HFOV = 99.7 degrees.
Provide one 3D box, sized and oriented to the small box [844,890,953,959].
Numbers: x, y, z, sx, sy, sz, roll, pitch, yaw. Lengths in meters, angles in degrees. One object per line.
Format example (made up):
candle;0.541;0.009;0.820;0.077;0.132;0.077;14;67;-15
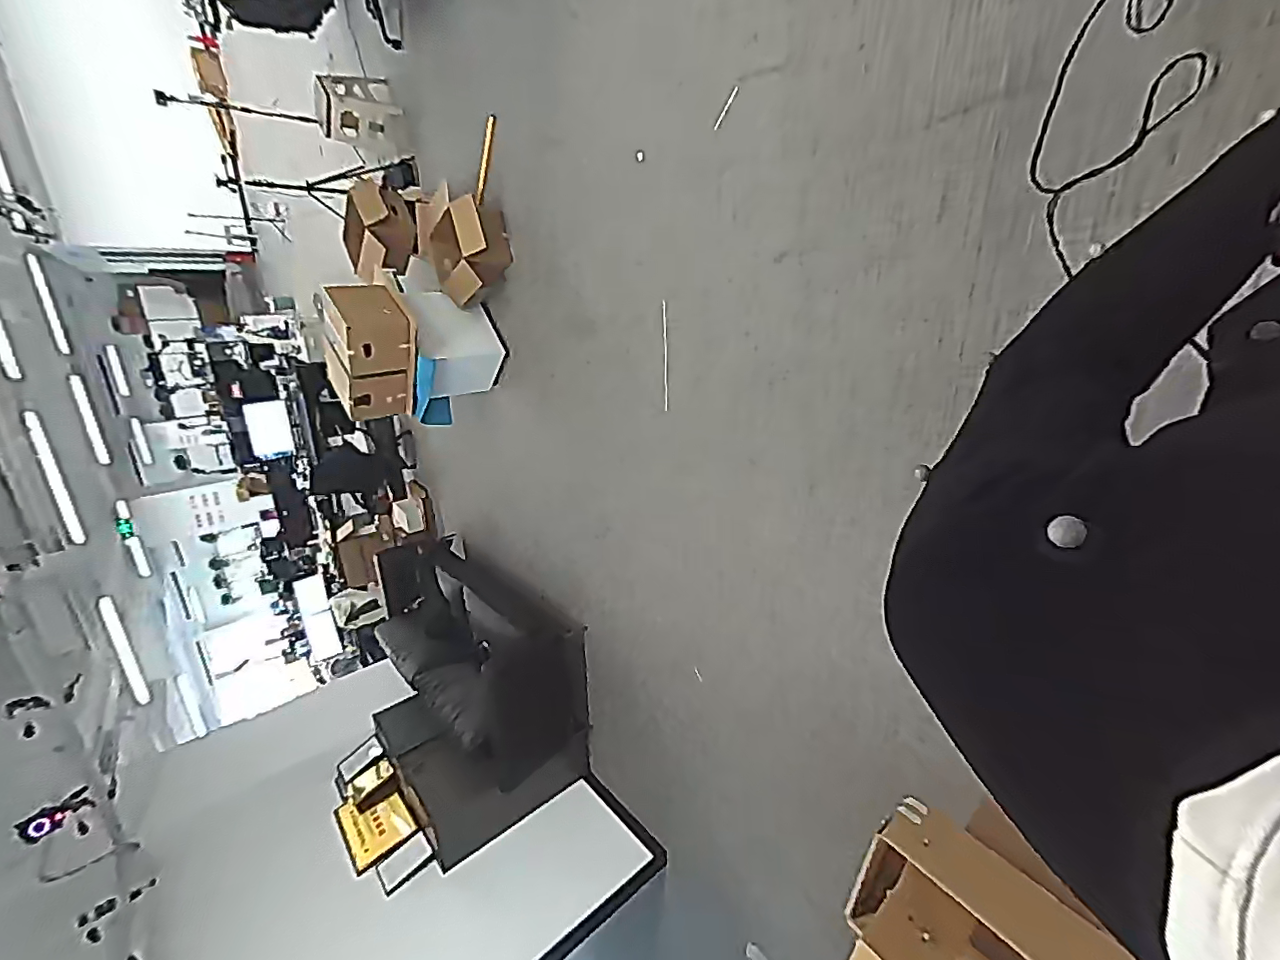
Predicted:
small box;0.609;1.142;1.283;0.168;0.176;0.179;30;124;41
